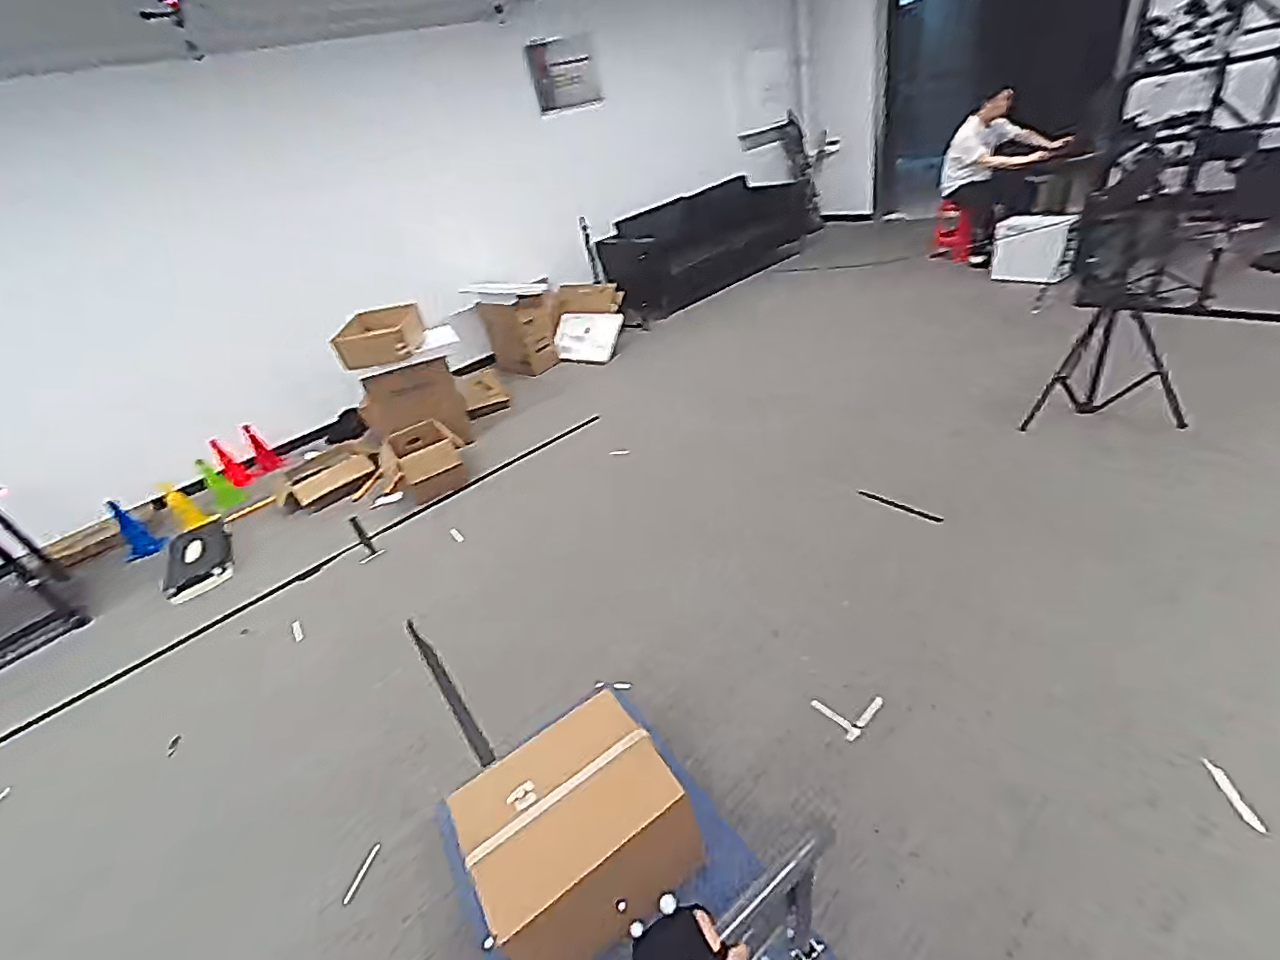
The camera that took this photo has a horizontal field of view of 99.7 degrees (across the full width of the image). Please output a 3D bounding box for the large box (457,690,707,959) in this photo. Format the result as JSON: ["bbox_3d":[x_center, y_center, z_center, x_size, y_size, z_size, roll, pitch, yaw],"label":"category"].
[{"bbox_3d":[-0.116,0.763,1.181,0.408,0.320,0.320,-29,34,-21],"label":"large box"}]
